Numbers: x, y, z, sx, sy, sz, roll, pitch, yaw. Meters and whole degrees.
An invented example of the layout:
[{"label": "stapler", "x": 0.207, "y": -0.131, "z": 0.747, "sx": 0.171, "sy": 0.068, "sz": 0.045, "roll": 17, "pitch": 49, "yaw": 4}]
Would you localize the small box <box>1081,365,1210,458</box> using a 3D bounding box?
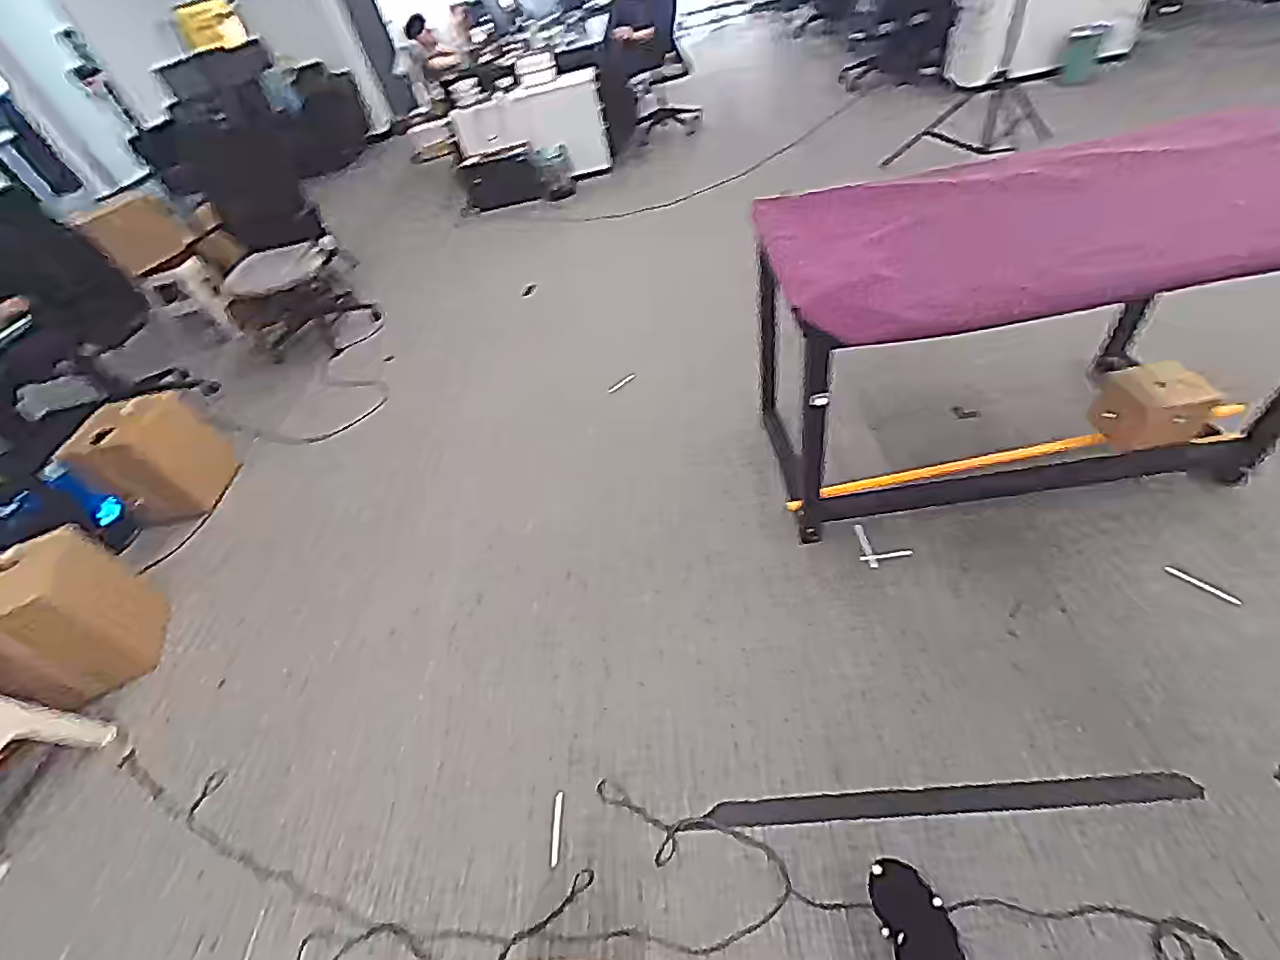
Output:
[{"label": "small box", "x": 1.339, "y": -0.179, "z": 1.454, "sx": 0.179, "sy": 0.176, "sz": 0.168, "roll": -10, "pitch": 47, "yaw": 6}]
